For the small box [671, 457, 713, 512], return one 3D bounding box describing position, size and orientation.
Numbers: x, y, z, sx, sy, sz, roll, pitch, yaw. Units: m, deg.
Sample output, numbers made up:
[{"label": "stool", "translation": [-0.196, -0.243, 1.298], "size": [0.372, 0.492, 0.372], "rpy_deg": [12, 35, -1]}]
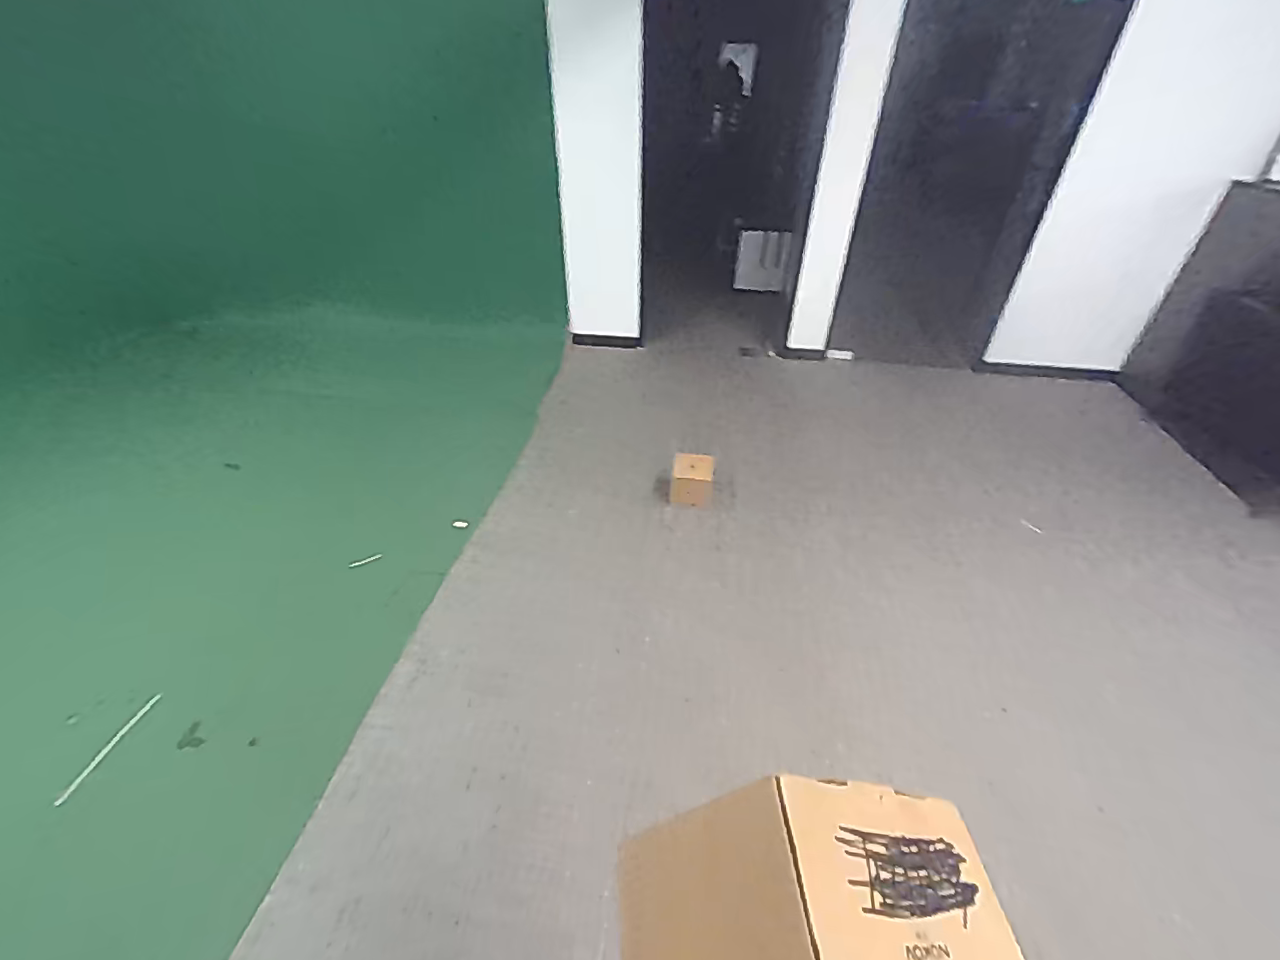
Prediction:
[{"label": "small box", "translation": [0.225, 0.021, 2.354], "size": [0.168, 0.176, 0.179], "rpy_deg": [6, 38, 7]}]
